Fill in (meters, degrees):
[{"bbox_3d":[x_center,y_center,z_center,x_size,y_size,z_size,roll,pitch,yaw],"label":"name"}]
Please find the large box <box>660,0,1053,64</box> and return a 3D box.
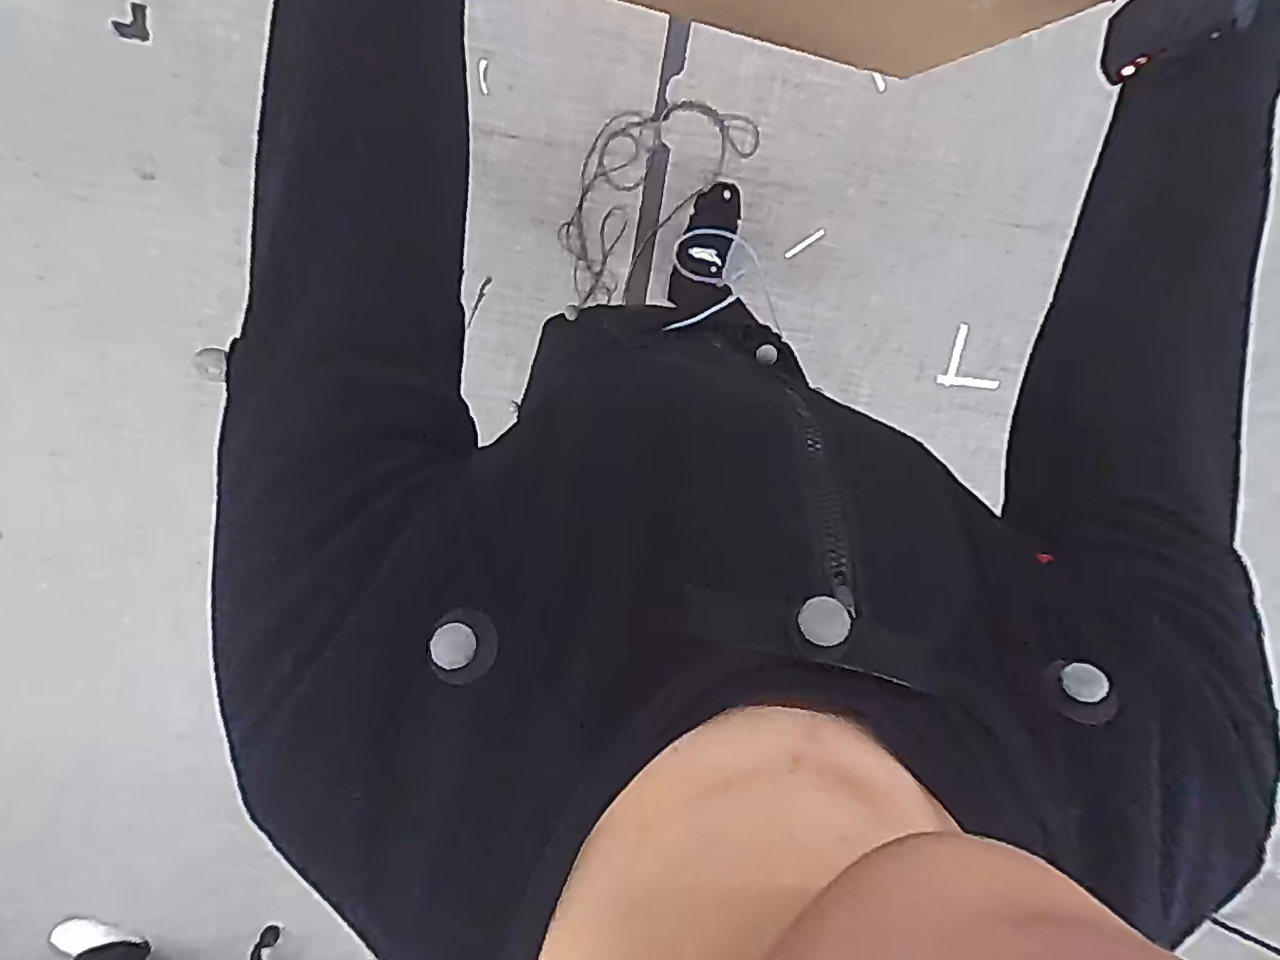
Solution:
[{"bbox_3d":[0.143,-0.556,0.385,0.408,0.320,0.320,9,119,-8],"label":"large box"}]
